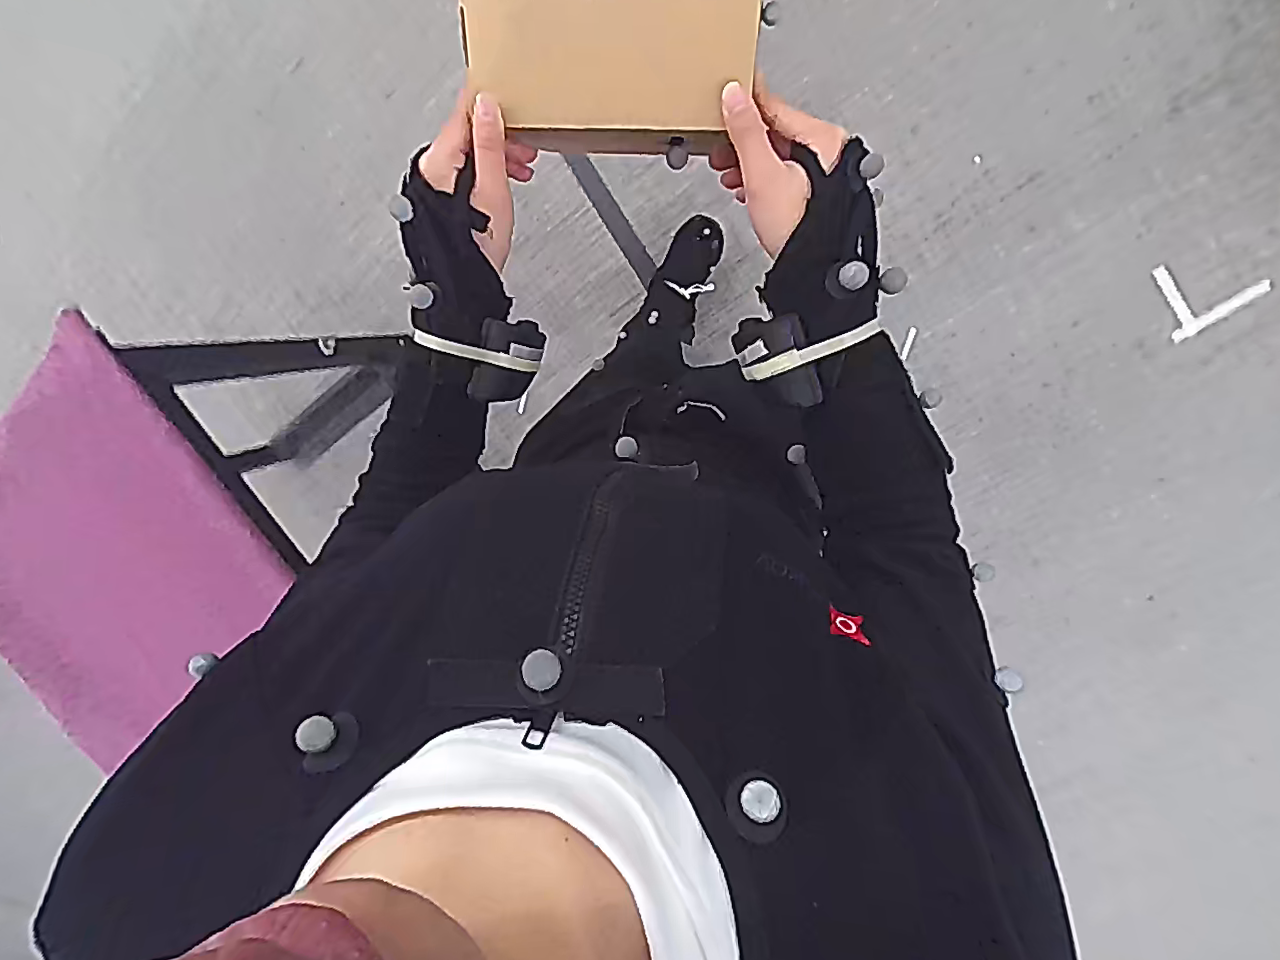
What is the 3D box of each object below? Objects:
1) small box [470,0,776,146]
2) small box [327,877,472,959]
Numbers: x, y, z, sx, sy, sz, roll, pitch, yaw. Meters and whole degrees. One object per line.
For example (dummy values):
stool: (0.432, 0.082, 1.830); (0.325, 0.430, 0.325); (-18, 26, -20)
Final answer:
small box: (0.000, -0.330, 0.362); (0.179, 0.176, 0.168); (6, 117, 7)
small box: (-0.388, 0.769, 0.835); (0.179, 0.176, 0.168); (-41, 94, 18)
